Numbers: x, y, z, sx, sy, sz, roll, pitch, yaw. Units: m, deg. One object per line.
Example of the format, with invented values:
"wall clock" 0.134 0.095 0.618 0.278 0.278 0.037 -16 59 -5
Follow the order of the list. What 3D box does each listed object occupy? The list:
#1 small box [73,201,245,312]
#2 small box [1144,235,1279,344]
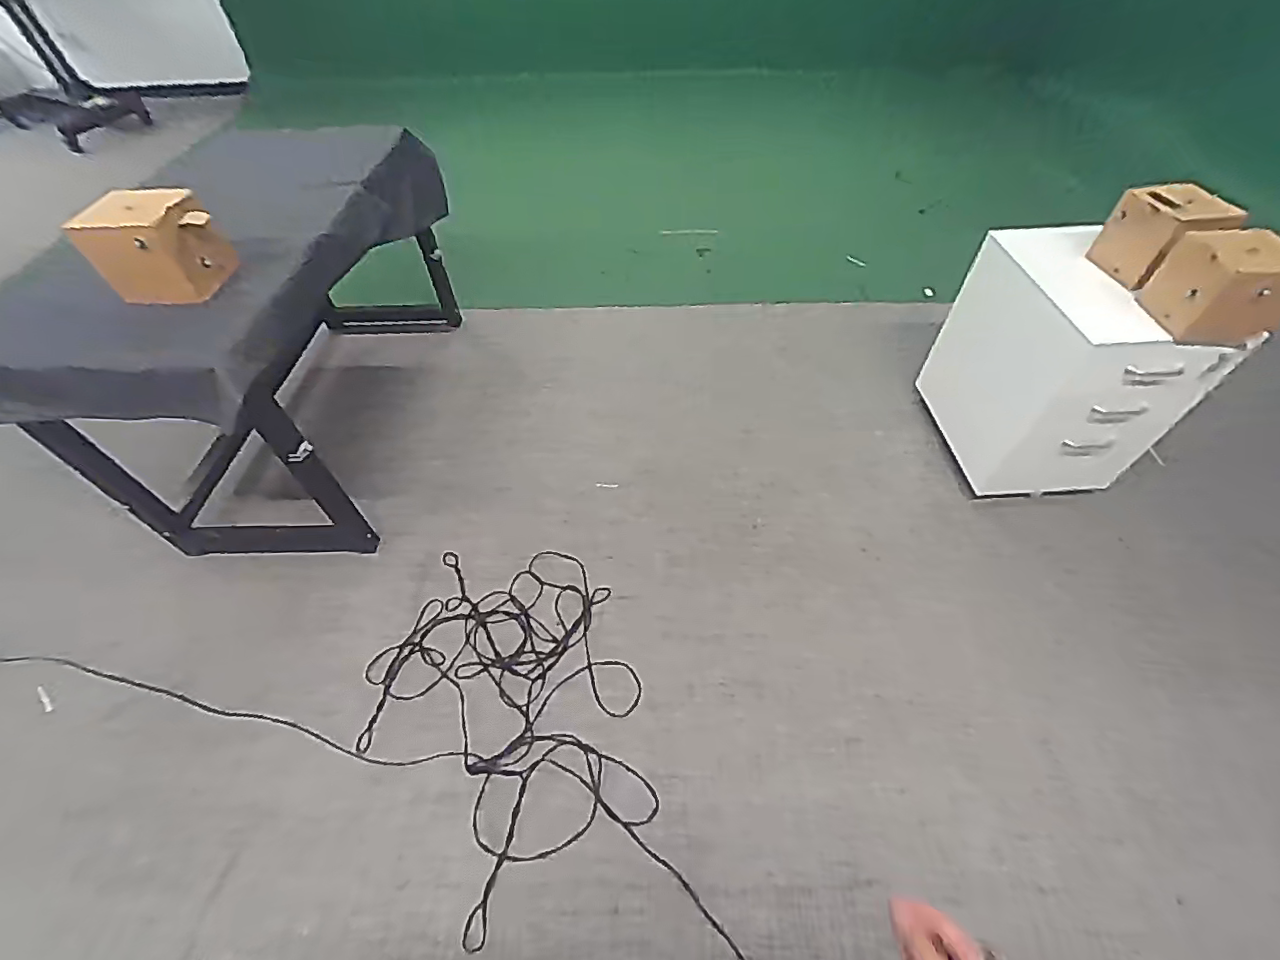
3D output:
"small box" -1.004 -0.471 1.149 0.179 0.176 0.168 -1 50 1
"small box" 1.254 -0.407 1.166 0.179 0.176 0.168 0 51 2
